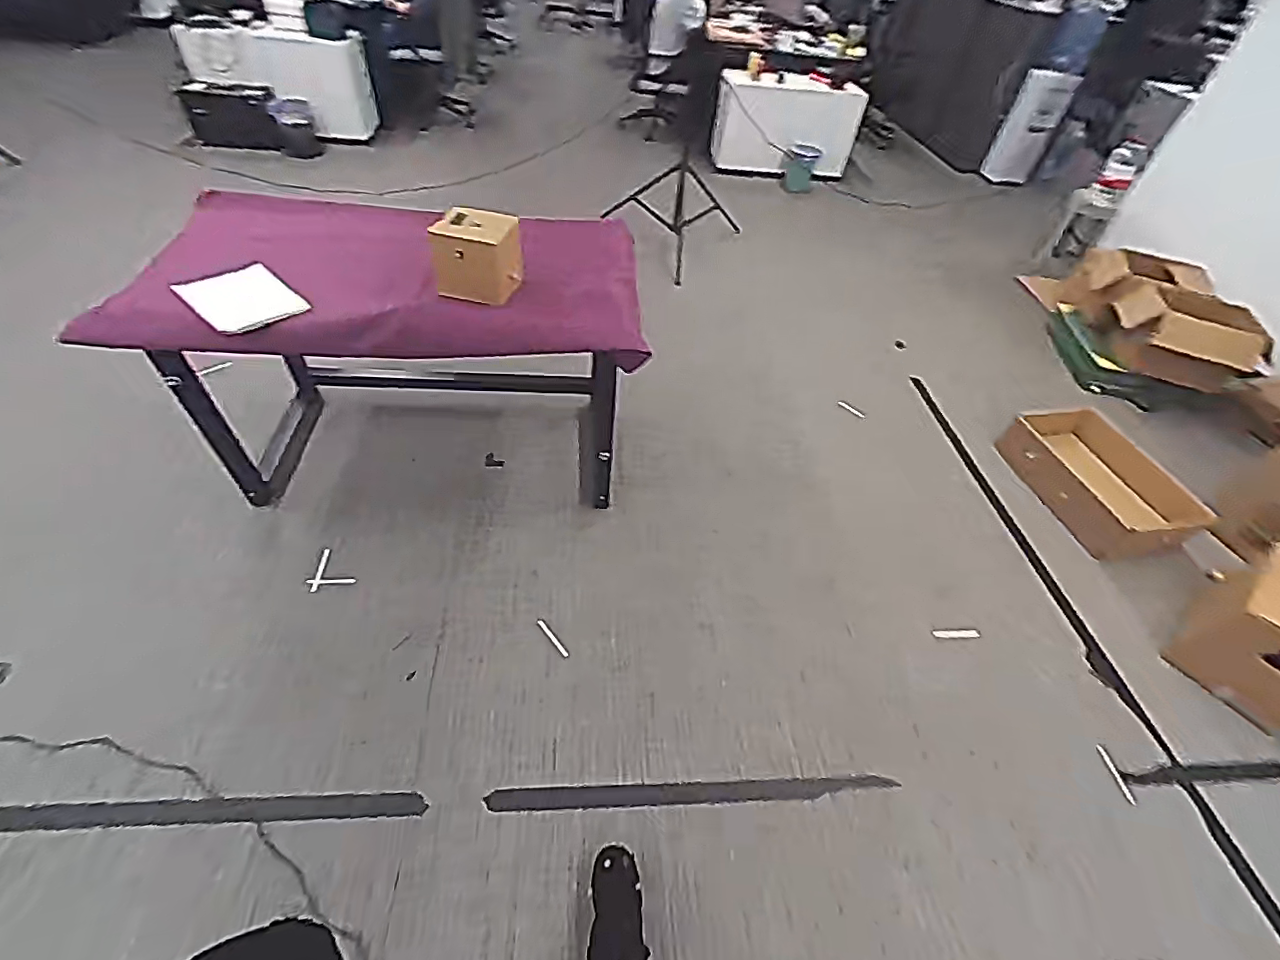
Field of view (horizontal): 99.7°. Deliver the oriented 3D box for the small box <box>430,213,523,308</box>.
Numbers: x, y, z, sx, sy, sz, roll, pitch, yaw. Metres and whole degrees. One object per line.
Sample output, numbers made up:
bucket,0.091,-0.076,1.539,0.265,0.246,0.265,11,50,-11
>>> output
small box,-0.416,-0.570,1.411,0.179,0.176,0.168,12,47,3
